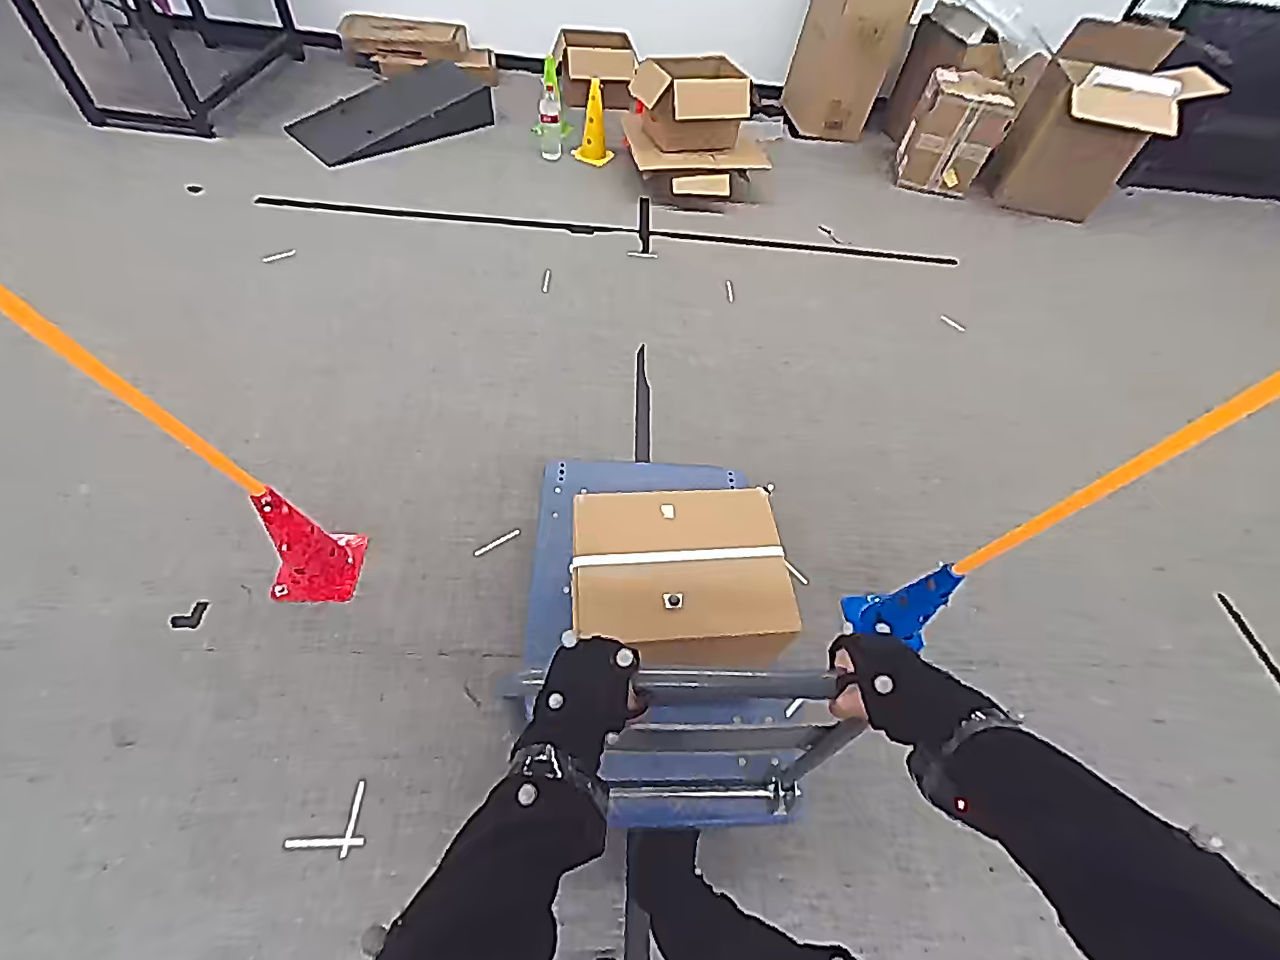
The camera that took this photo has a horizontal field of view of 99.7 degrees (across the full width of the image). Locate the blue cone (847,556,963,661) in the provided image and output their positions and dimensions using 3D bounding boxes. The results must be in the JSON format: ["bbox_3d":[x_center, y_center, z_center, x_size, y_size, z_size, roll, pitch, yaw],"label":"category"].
[{"bbox_3d":[0.704,0.309,1.375,0.193,0.380,0.192,0,53,-7],"label":"blue cone"}]
